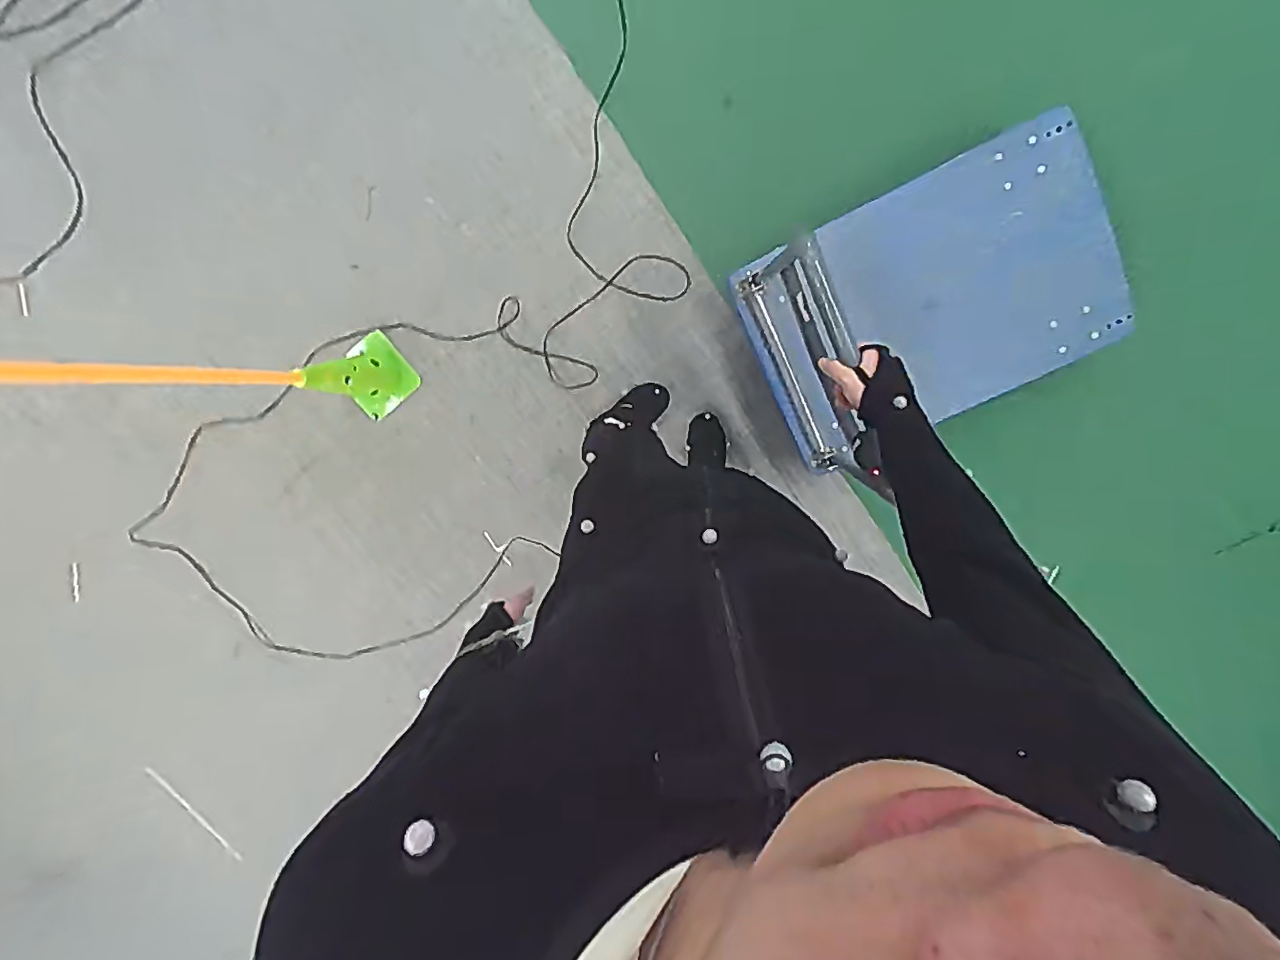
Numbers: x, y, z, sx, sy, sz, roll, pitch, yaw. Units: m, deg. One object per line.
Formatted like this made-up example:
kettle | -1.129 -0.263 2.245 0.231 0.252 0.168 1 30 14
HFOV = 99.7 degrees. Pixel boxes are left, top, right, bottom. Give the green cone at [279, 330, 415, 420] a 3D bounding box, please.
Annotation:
green cone | -0.787 -0.272 1.402 0.200 0.368 0.202 -38 96 8
